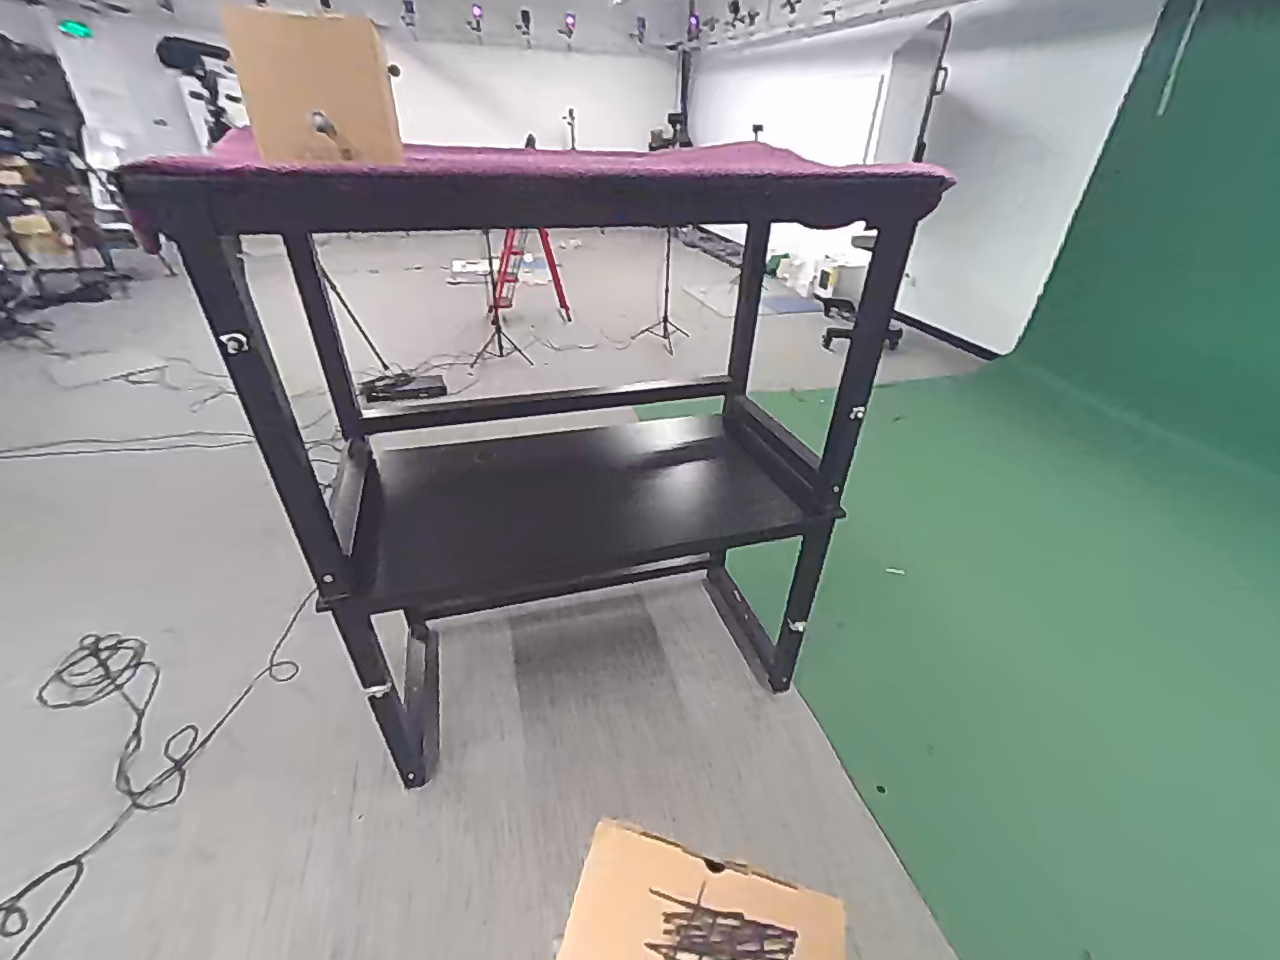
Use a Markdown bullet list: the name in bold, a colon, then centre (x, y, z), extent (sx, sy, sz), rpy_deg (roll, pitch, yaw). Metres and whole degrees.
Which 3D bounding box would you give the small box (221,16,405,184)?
- **small box**: centre (-0.435, -0.519, 0.756), extent (0.168, 0.176, 0.179), rpy_deg (-8, 34, -15)

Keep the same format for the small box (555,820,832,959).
- **small box**: centre (0.027, 0.371, 0.377), extent (0.168, 0.176, 0.179), rpy_deg (10, 53, 14)
